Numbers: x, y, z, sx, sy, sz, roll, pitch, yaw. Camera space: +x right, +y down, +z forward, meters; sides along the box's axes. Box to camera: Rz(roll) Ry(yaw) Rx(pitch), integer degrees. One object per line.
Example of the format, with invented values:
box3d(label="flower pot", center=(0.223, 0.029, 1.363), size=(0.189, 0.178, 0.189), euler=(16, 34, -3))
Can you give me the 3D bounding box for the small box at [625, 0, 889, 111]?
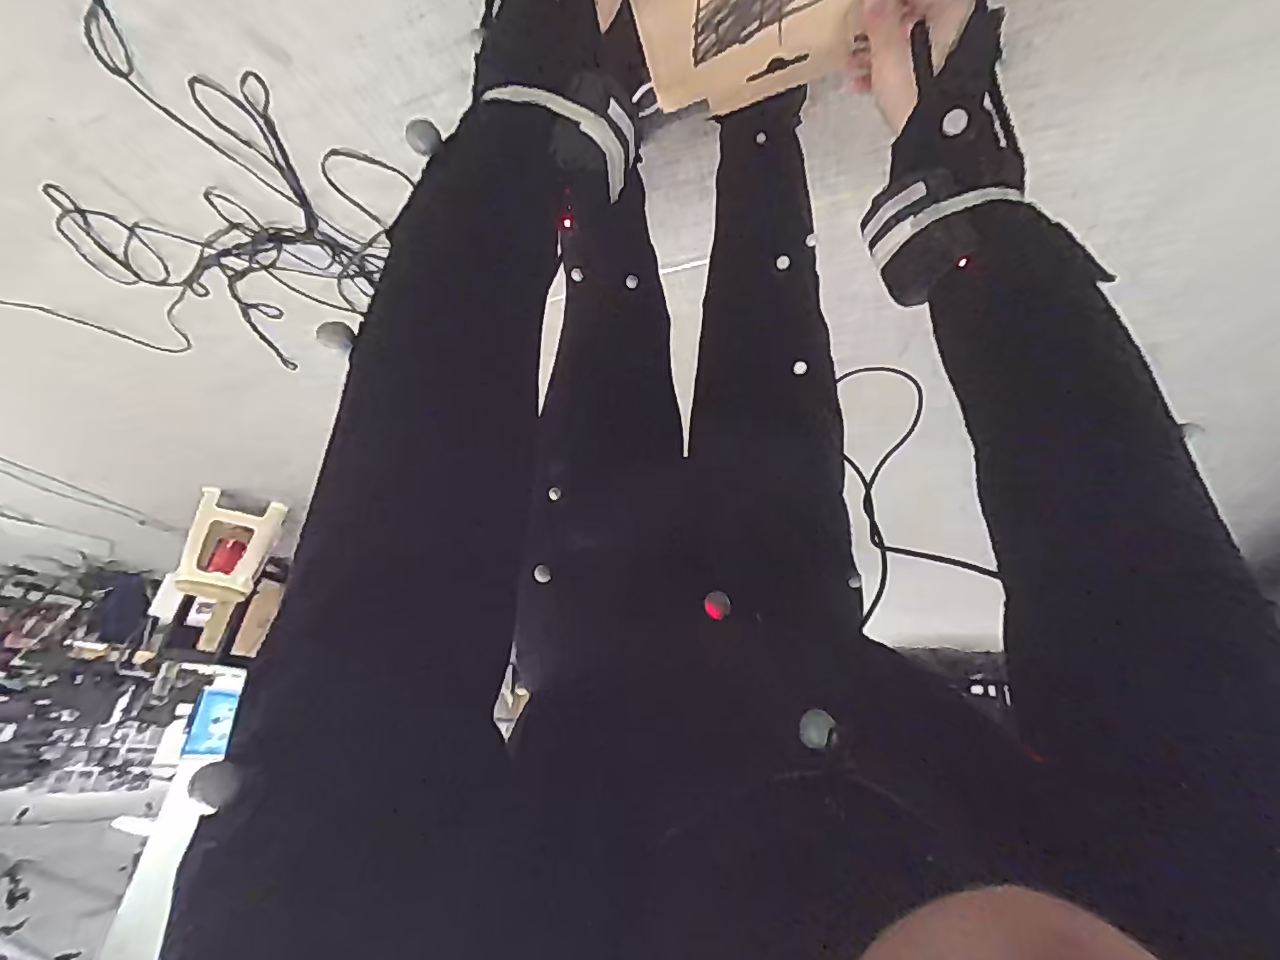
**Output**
box3d(label="small box", center=(0.064, -0.402, 0.365), size=(0.168, 0.176, 0.179), euler=(-12, 141, 16))
